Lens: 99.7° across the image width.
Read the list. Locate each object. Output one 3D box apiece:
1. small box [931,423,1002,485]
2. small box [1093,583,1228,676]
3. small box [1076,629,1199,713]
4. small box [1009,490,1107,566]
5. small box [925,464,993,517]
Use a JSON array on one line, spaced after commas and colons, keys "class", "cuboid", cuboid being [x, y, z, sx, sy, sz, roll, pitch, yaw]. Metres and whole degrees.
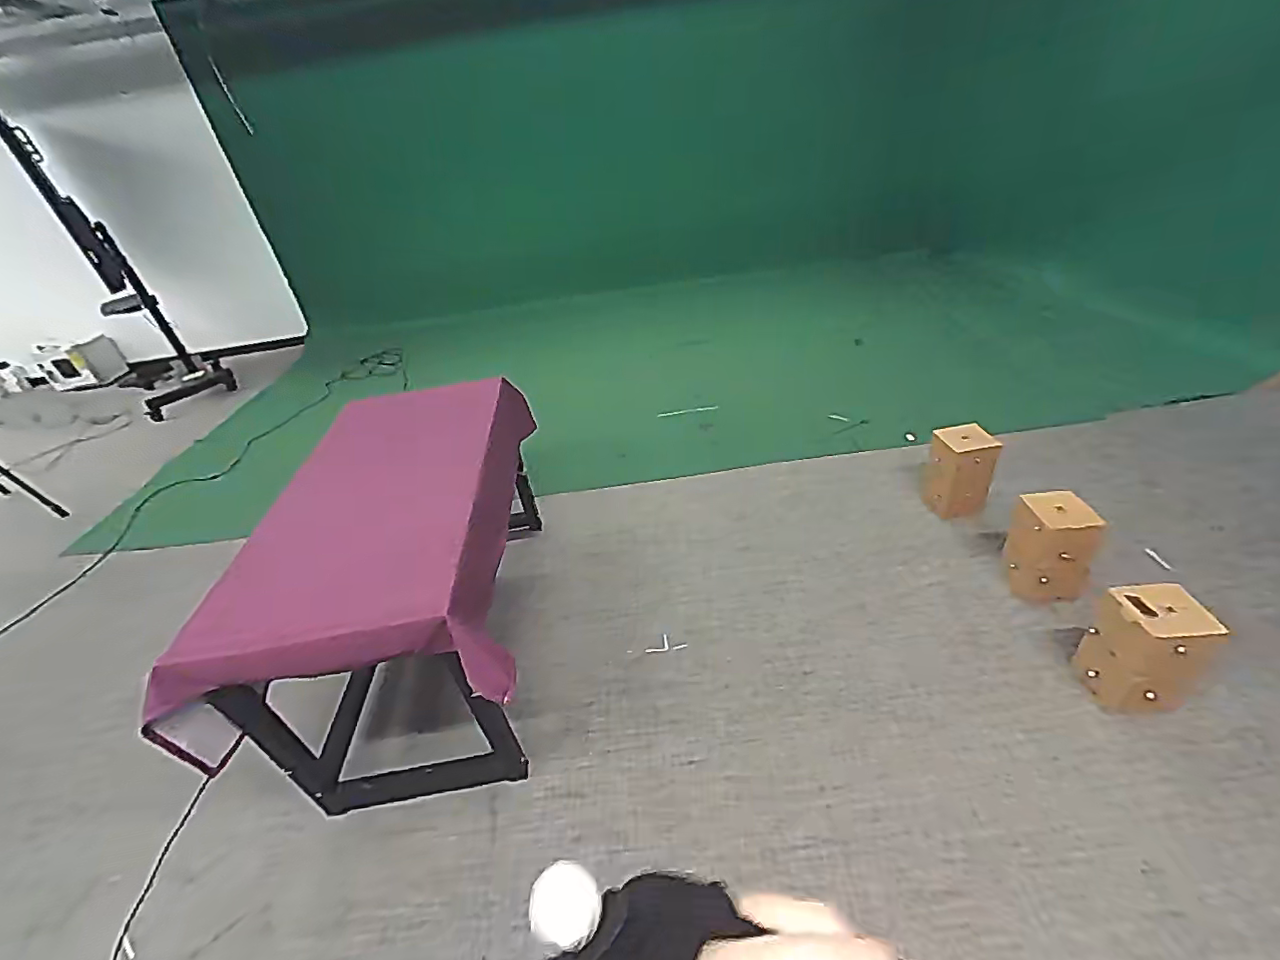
[{"class": "small box", "cuboid": [1.258, -0.099, 2.101, 0.179, 0.176, 0.168, -10, 36, 0]}, {"class": "small box", "cuboid": [1.327, 0.389, 1.400, 0.179, 0.176, 0.168, -5, 36, 5]}, {"class": "small box", "cuboid": [1.354, 0.522, 1.494, 0.179, 0.176, 0.168, -7, 36, 5]}, {"class": "small box", "cuboid": [1.325, 0.154, 1.731, 0.168, 0.176, 0.179, -6, 35, 5]}, {"class": "small box", "cuboid": [1.283, 0.034, 2.195, 0.179, 0.176, 0.168, -8, 36, 1]}]
